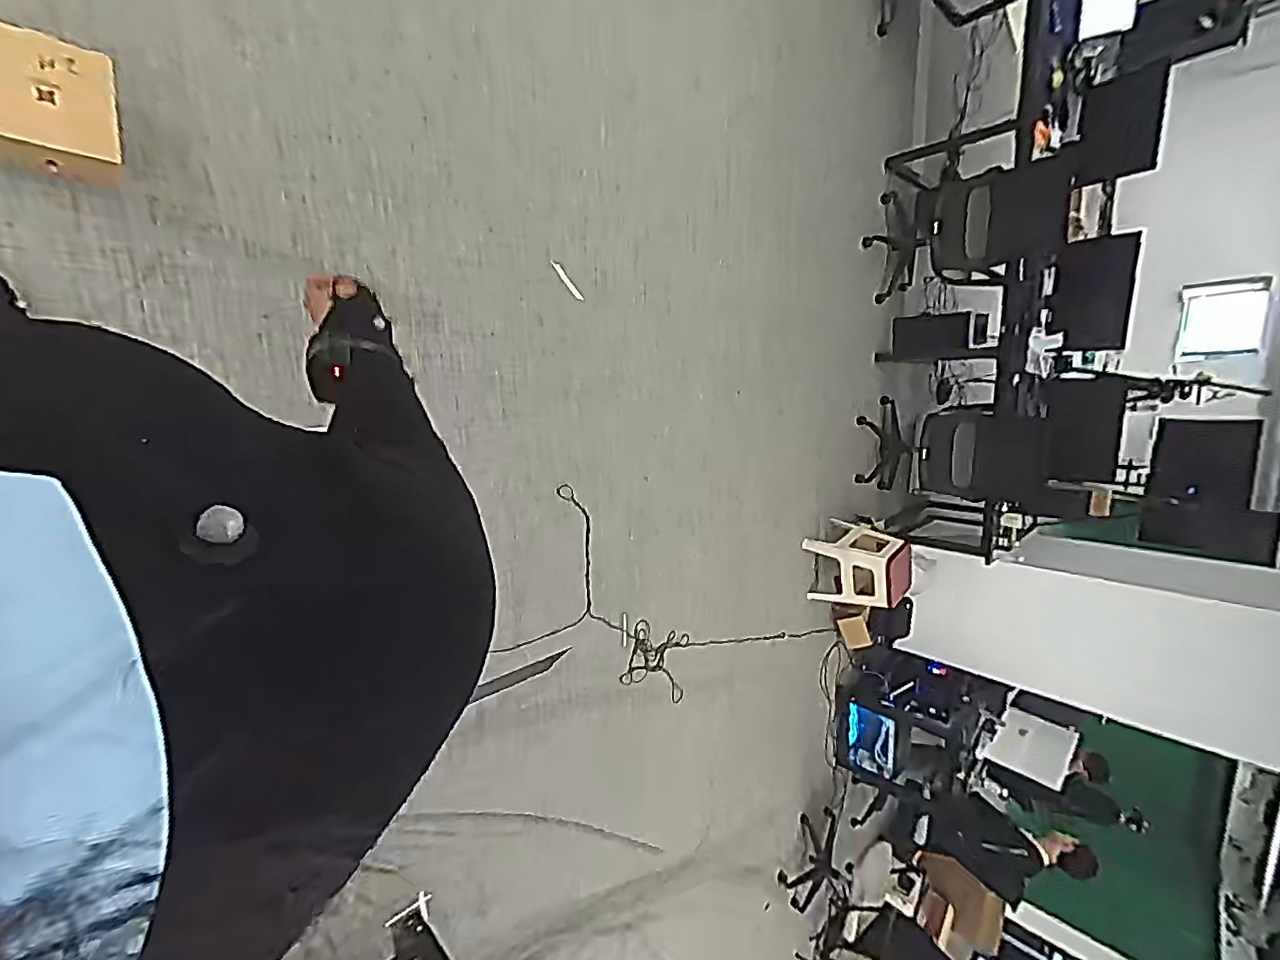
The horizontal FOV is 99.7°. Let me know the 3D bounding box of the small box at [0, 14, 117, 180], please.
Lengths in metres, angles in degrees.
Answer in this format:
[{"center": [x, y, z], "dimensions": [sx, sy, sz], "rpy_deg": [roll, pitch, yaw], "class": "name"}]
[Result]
[{"center": [-1.016, -0.644, 0.926], "dimensions": [0.168, 0.176, 0.179], "rpy_deg": [-6, 100, -44], "class": "small box"}]
